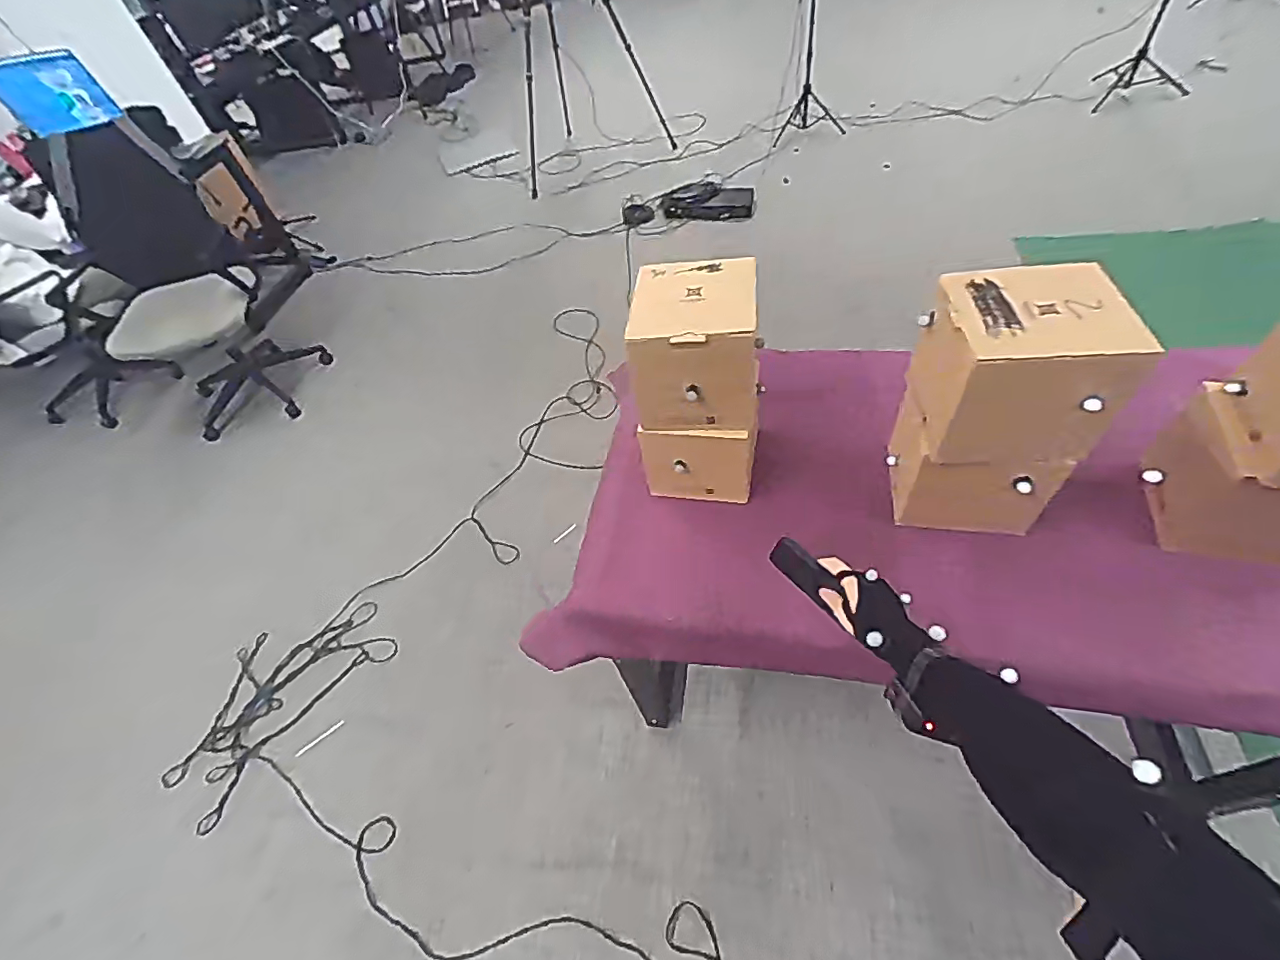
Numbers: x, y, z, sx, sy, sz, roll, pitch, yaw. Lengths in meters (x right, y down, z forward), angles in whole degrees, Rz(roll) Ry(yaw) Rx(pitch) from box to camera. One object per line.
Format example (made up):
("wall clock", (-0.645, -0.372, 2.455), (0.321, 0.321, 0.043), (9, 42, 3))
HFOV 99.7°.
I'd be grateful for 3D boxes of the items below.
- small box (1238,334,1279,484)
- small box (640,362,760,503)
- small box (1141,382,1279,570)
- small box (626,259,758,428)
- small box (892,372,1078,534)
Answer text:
("small box", (0.786, -0.089, 0.556), (0.179, 0.176, 0.168), (10, 54, 18))
("small box", (0.109, -0.080, 0.898), (0.168, 0.176, 0.179), (5, 53, 15))
("small box", (0.806, 0.000, 0.693), (0.179, 0.176, 0.168), (9, 54, 19))
("small box", (0.085, -0.189, 0.777), (0.168, 0.176, 0.179), (1, 52, 11))
("small box", (0.481, -0.036, 0.786), (0.179, 0.176, 0.168), (4, 52, 15))
